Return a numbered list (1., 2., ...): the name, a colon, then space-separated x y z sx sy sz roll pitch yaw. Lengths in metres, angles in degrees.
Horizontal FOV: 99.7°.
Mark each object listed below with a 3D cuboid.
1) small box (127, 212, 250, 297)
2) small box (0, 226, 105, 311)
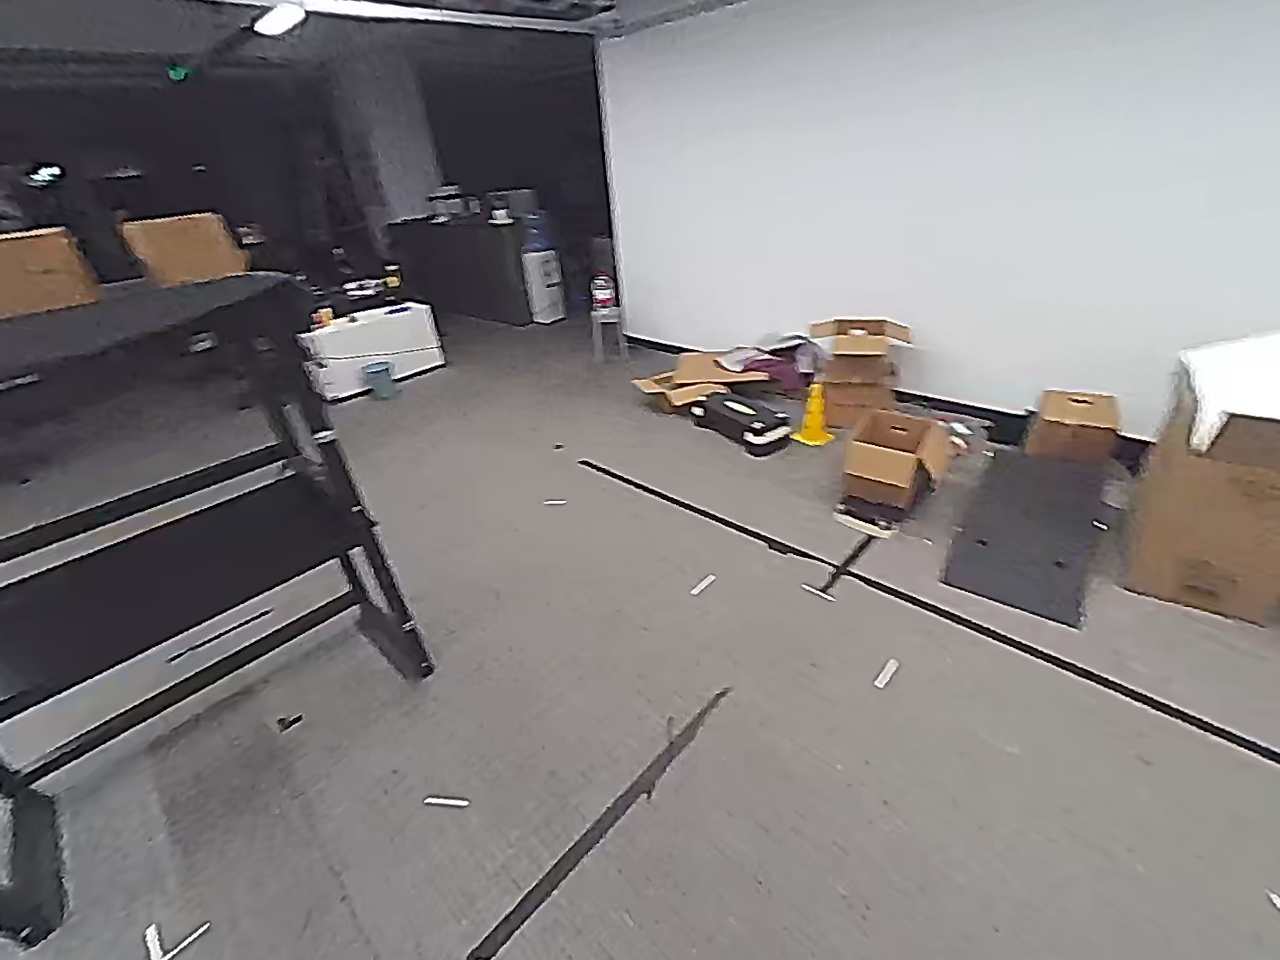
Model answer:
1. small box: -1.109 -0.557 1.337 0.179 0.176 0.168 20 40 37
2. small box: -1.509 -0.536 1.367 0.179 0.176 0.168 23 41 37
